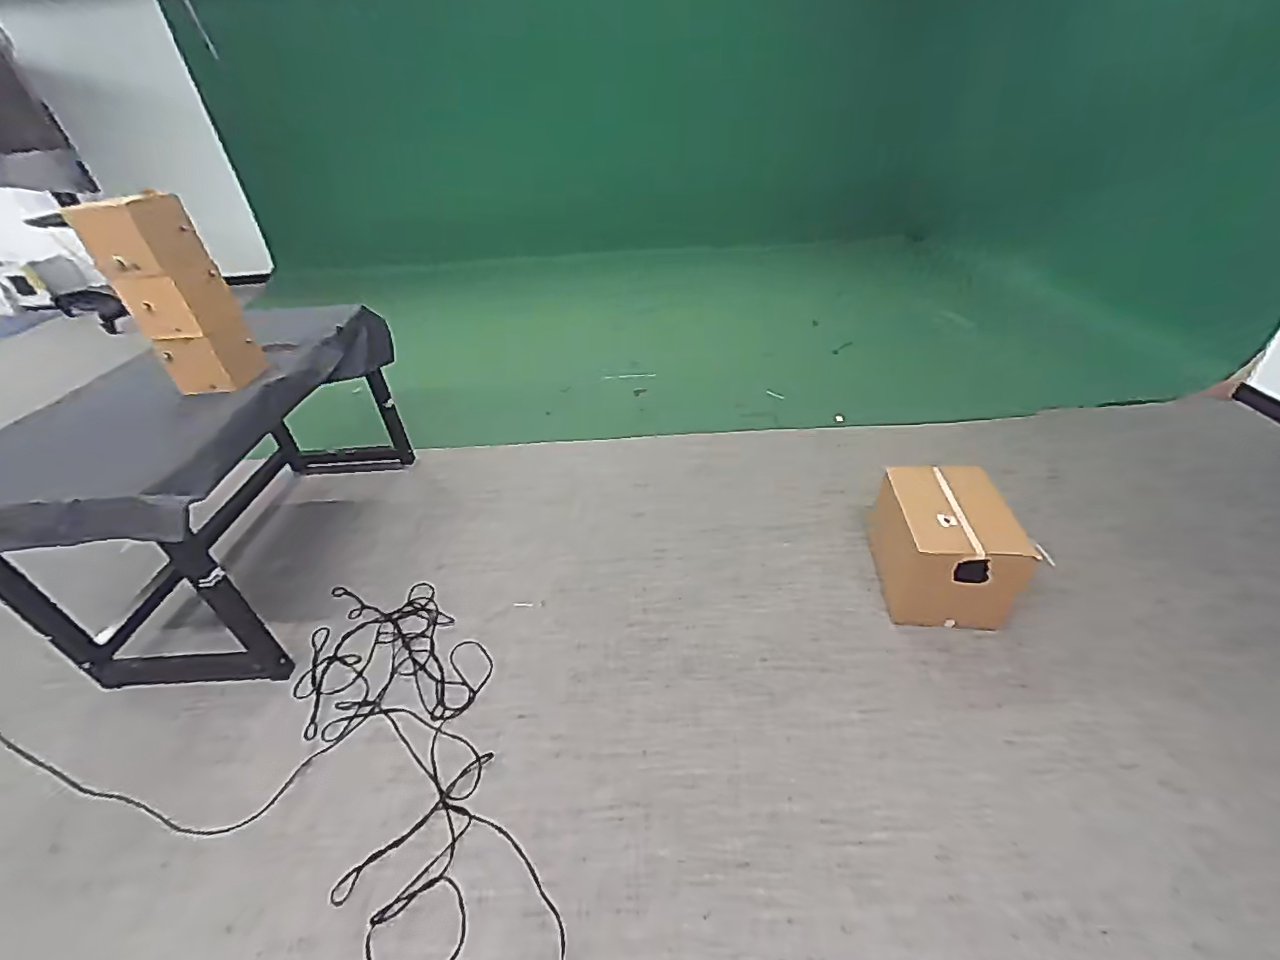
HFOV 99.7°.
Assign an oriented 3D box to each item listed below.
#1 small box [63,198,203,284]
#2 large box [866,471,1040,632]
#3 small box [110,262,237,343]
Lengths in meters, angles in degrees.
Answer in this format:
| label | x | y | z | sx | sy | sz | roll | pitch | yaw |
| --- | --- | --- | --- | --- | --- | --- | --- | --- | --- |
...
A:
| label | x | y | z | sx | sy | sz | roll | pitch | yaw |
| --- | --- | --- | --- | --- | --- | --- | --- | --- | --- |
| small box | -1.279 | -0.613 | 1.388 | 0.168 | 0.176 | 0.179 | -4 | 36 | 3 |
| large box | 0.941 | 0.214 | 1.698 | 0.320 | 0.320 | 0.408 | 1 | 38 | 7 |
| small box | -1.263 | -0.483 | 1.484 | 0.168 | 0.176 | 0.179 | -3 | 36 | 3 |
